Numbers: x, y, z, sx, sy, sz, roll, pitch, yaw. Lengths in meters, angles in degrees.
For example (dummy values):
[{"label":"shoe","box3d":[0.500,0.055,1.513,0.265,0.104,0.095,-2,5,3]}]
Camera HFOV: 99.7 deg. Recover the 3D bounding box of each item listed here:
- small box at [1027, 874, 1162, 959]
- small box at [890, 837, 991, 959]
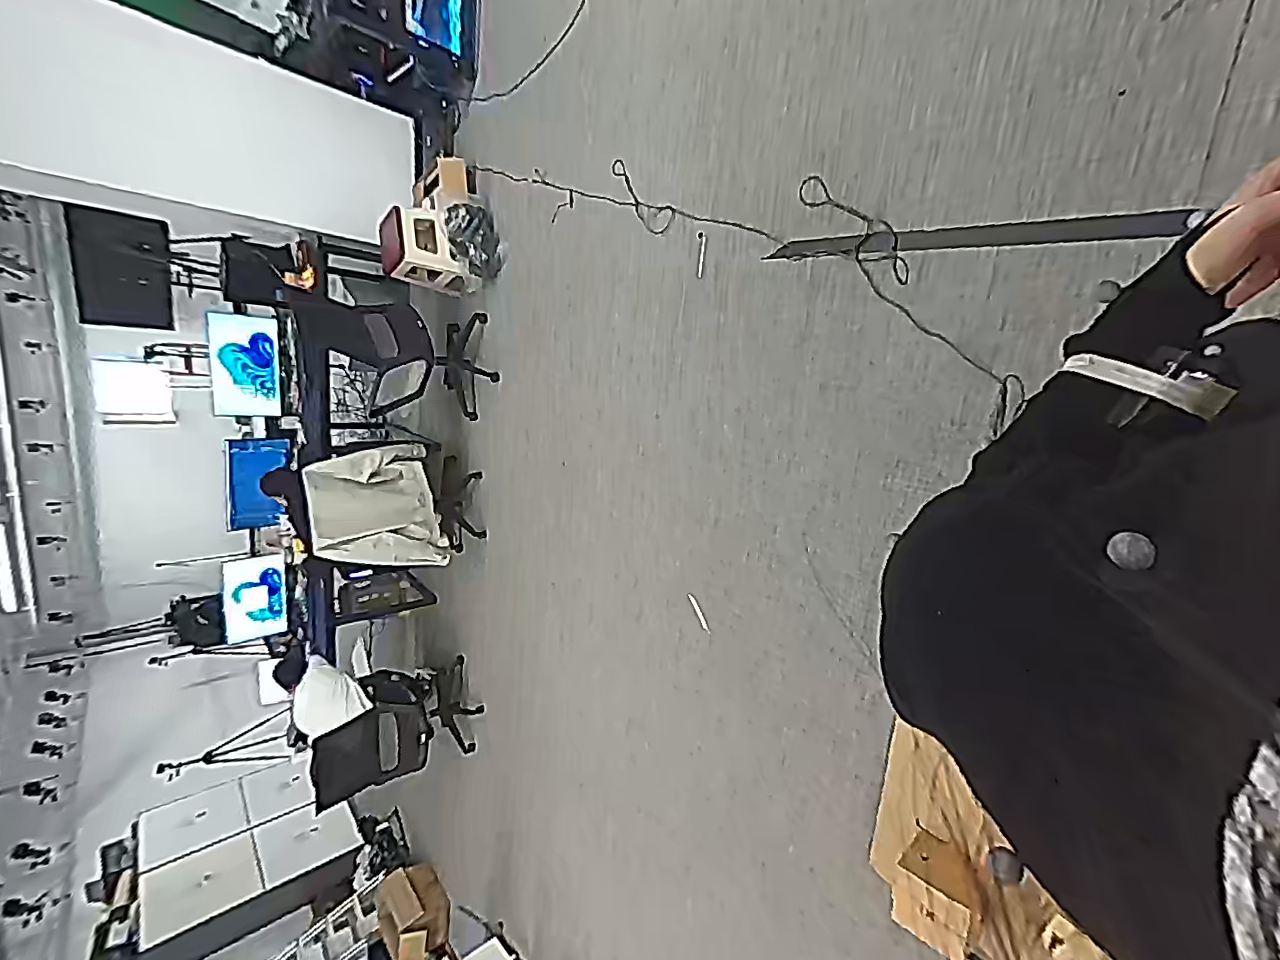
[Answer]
[{"label":"small box","box3d":[0.983,1.017,1.170,0.179,0.176,0.168,28,114,41]},{"label":"small box","box3d":[0.779,1.075,1.404,0.179,0.176,0.168,11,103,47]}]
